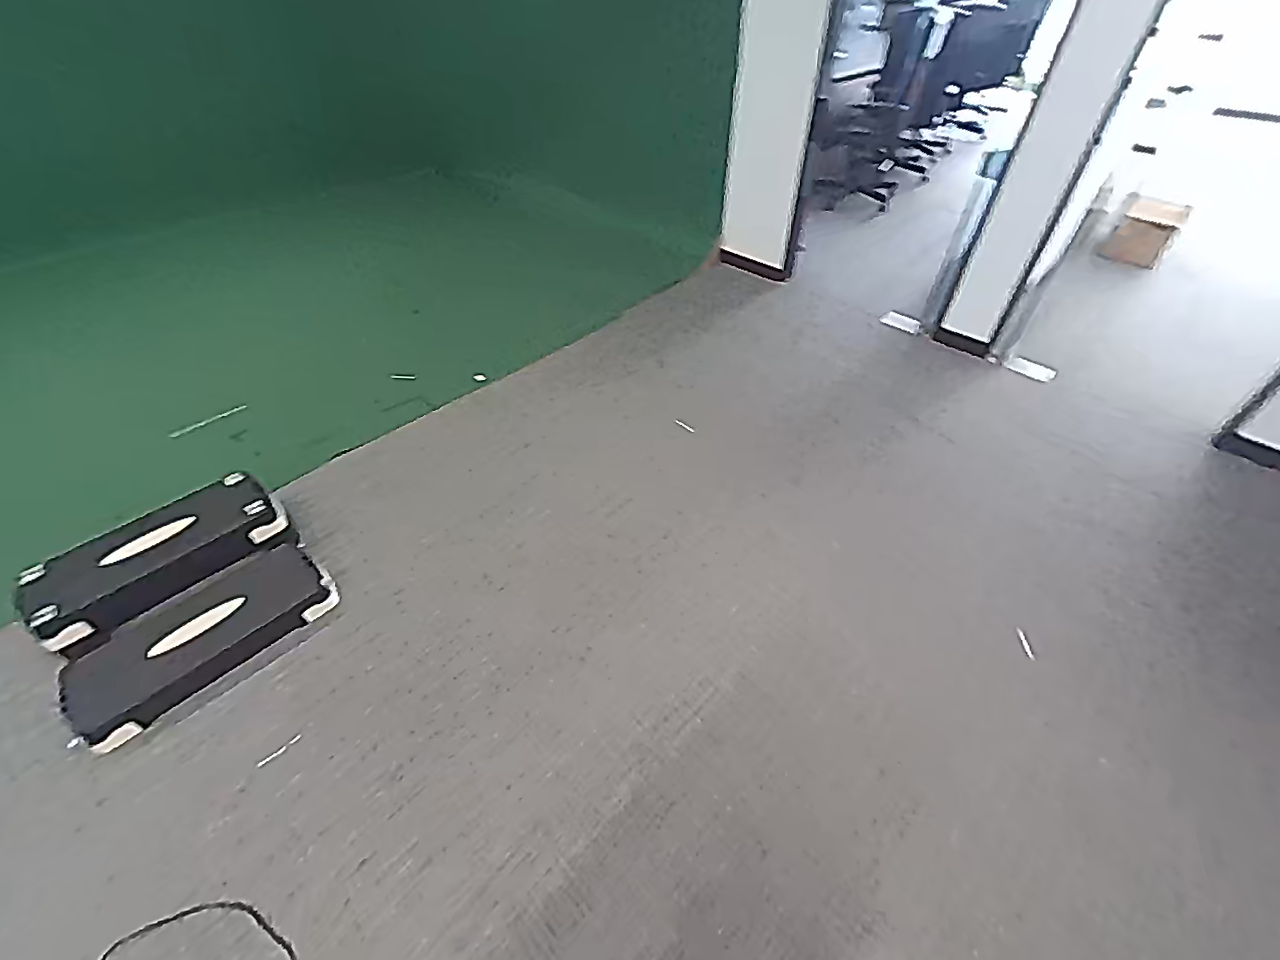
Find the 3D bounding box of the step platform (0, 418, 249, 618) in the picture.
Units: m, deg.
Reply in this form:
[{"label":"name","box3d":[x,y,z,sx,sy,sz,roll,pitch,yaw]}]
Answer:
[{"label":"step platform","box3d":[-1.573,0.091,1.594,0.286,0.204,0.684,36,56,29]}]
